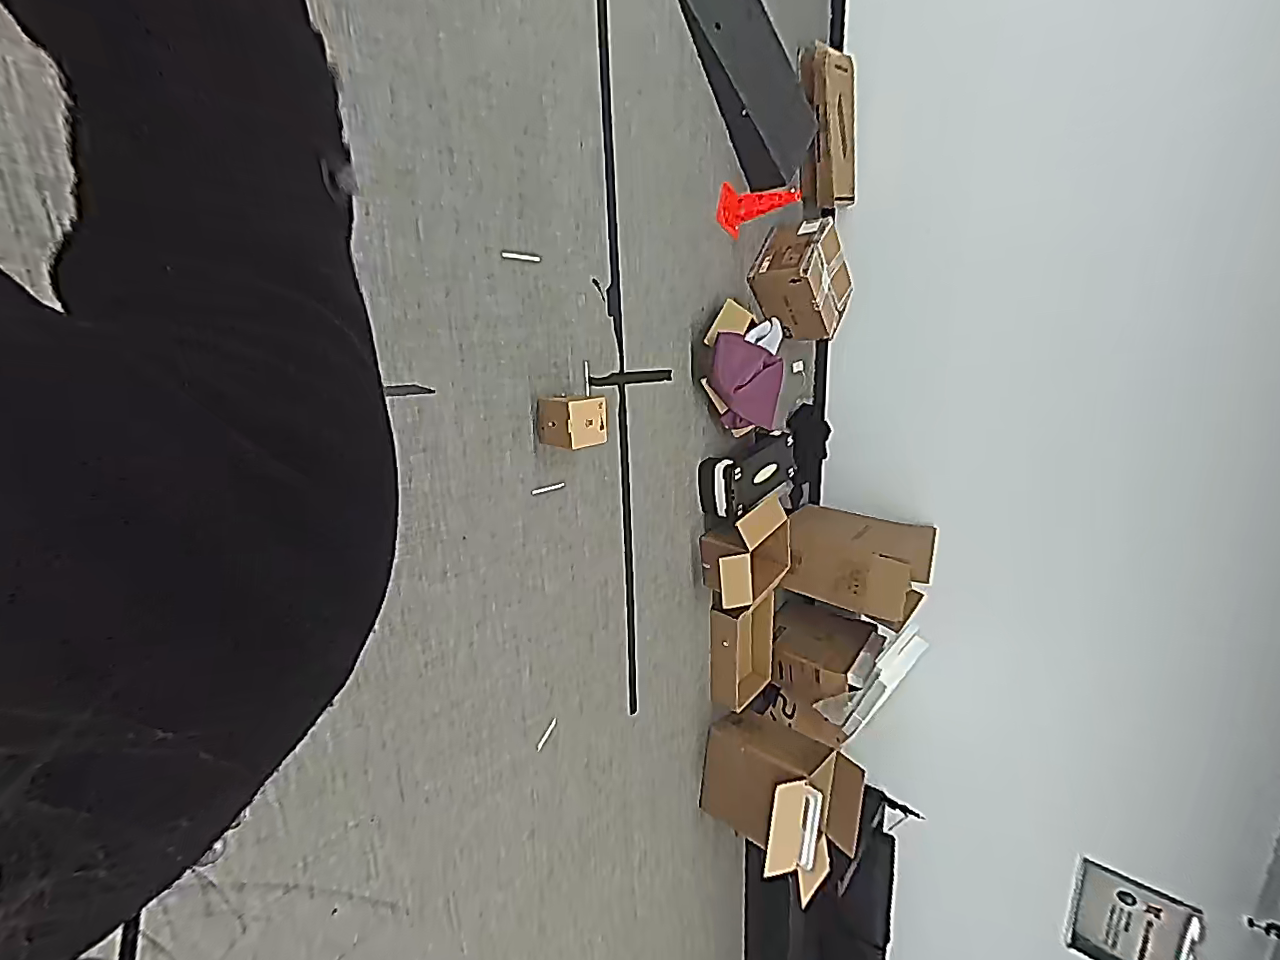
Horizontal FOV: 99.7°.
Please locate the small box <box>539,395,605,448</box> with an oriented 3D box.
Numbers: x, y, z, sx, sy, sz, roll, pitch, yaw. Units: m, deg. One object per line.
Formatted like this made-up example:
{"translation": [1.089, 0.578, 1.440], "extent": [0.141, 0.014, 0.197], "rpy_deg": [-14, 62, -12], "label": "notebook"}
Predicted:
{"translation": [-0.248, -0.212, 1.932], "extent": [0.179, 0.176, 0.168], "rpy_deg": [-17, 111, -46], "label": "small box"}
